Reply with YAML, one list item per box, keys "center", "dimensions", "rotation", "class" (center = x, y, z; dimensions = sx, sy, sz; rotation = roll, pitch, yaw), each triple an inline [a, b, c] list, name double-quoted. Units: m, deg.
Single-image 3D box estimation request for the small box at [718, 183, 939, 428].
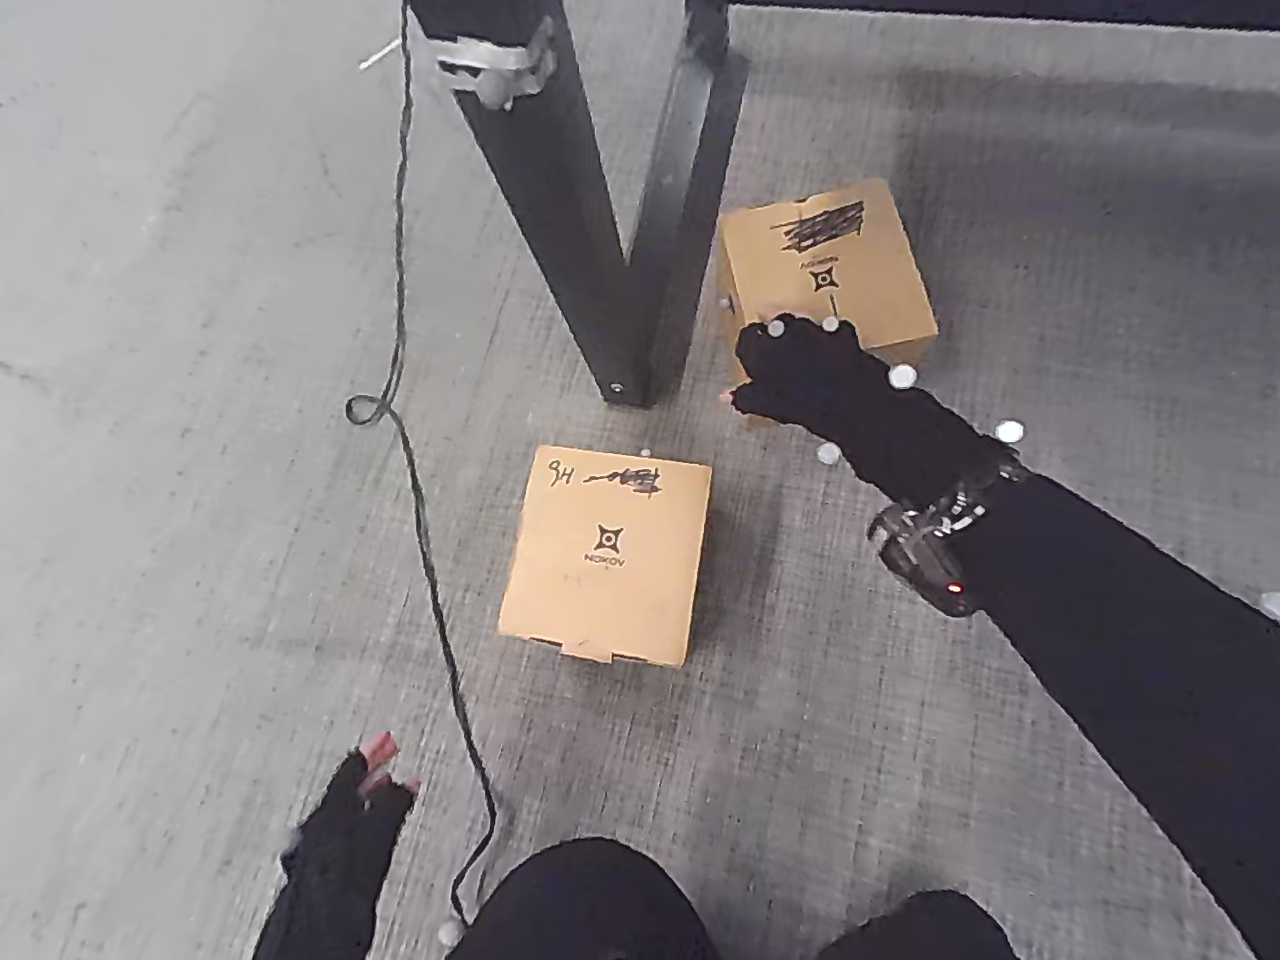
- center: [0.184, -0.177, 0.591]
  dimensions: [0.168, 0.176, 0.179]
  rotation: [-13, 76, 3]
  class: "small box"
